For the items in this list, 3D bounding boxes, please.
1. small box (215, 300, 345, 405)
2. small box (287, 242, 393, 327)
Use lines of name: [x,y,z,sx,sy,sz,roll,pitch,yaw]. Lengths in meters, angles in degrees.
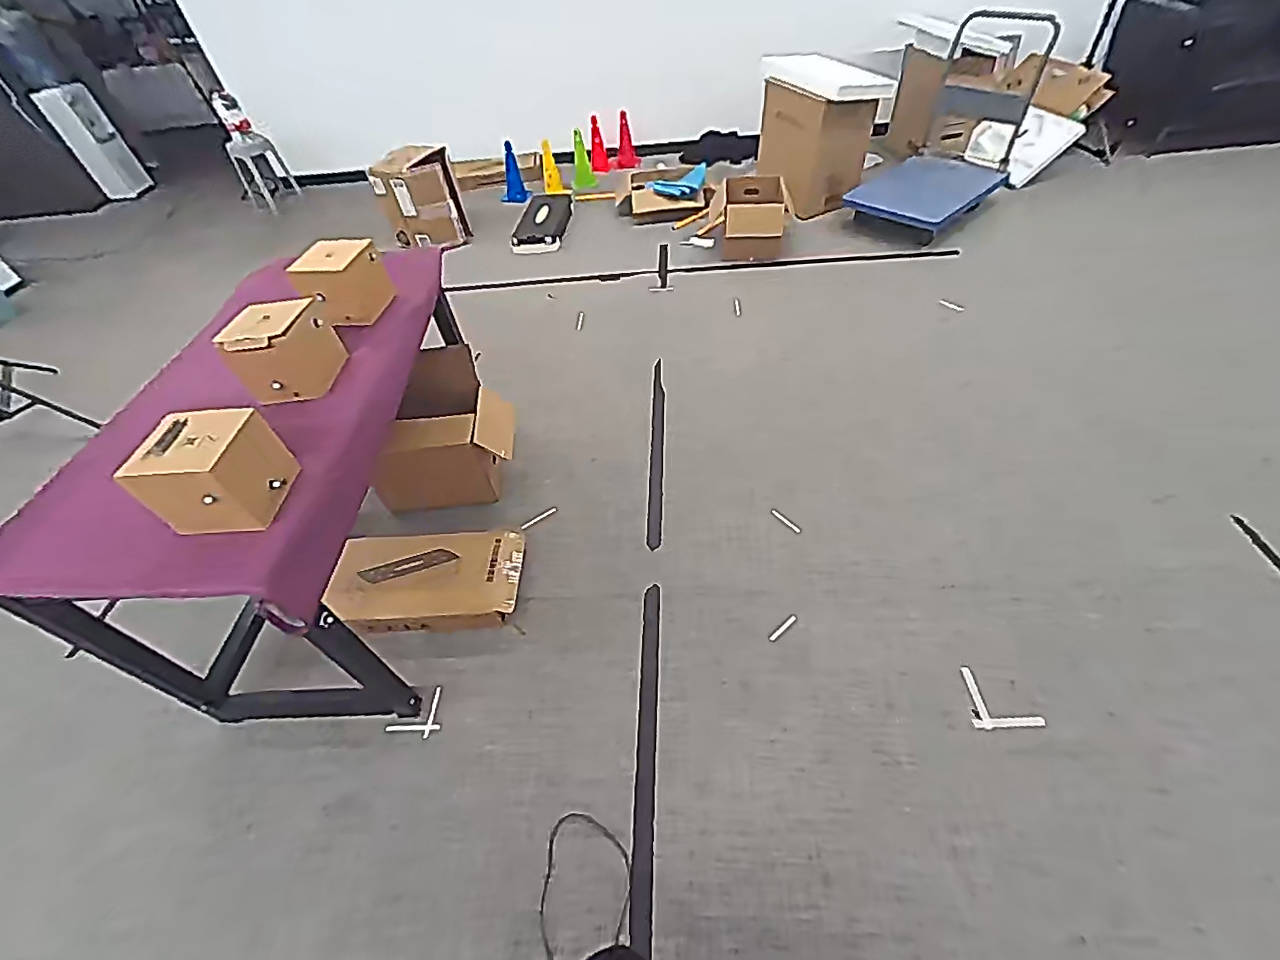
small box: [-0.838,-0.301,1.286,0.168,0.176,0.179,-6,48,5]
small box: [-0.818,-0.537,1.499,0.168,0.176,0.179,1,48,8]
